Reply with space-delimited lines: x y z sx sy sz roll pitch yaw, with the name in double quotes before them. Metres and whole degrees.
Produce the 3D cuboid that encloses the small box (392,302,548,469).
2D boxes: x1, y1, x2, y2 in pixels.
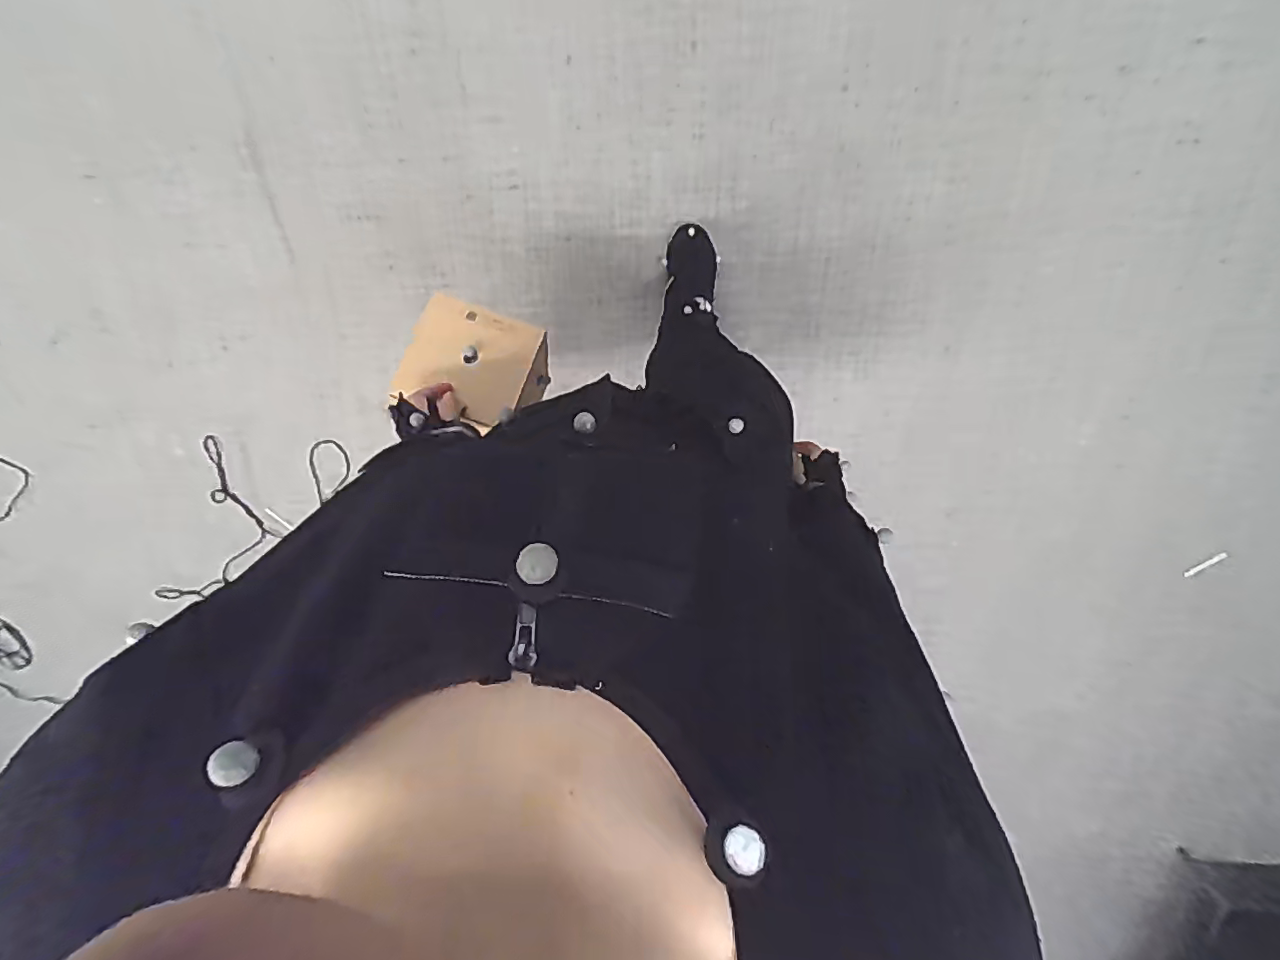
"small box" -0.243 -0.139 0.820 0.168 0.179 0.176 16 73 -3
